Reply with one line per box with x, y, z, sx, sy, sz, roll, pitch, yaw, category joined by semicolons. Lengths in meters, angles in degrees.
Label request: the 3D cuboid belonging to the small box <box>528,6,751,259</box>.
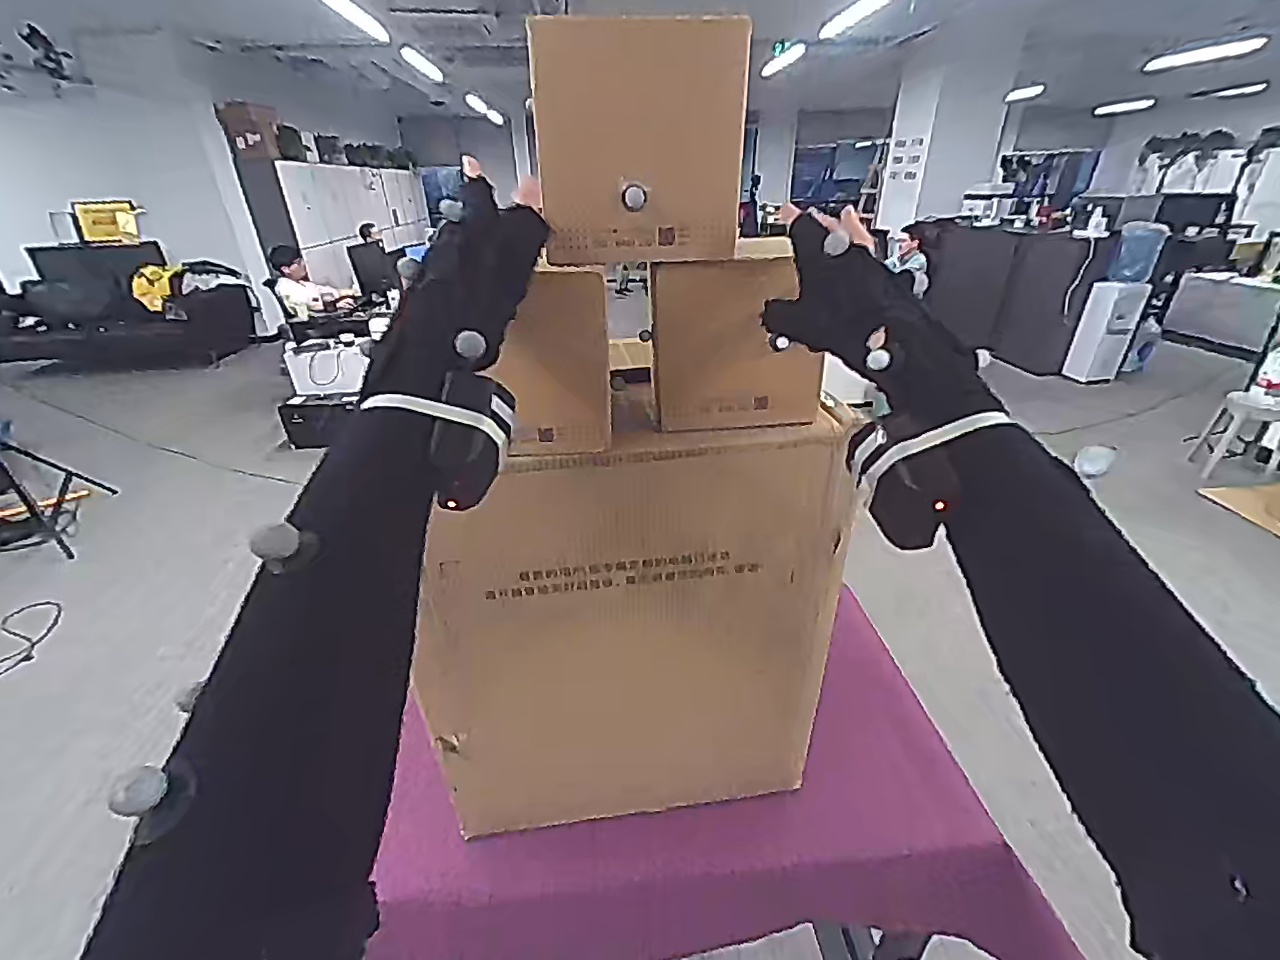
-0.004;-0.304;0.499;0.168;0.176;0.179;-3;29;-3;small box

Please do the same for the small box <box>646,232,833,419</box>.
0.095;-0.170;0.591;0.168;0.176;0.179;-3;27;-1;small box
